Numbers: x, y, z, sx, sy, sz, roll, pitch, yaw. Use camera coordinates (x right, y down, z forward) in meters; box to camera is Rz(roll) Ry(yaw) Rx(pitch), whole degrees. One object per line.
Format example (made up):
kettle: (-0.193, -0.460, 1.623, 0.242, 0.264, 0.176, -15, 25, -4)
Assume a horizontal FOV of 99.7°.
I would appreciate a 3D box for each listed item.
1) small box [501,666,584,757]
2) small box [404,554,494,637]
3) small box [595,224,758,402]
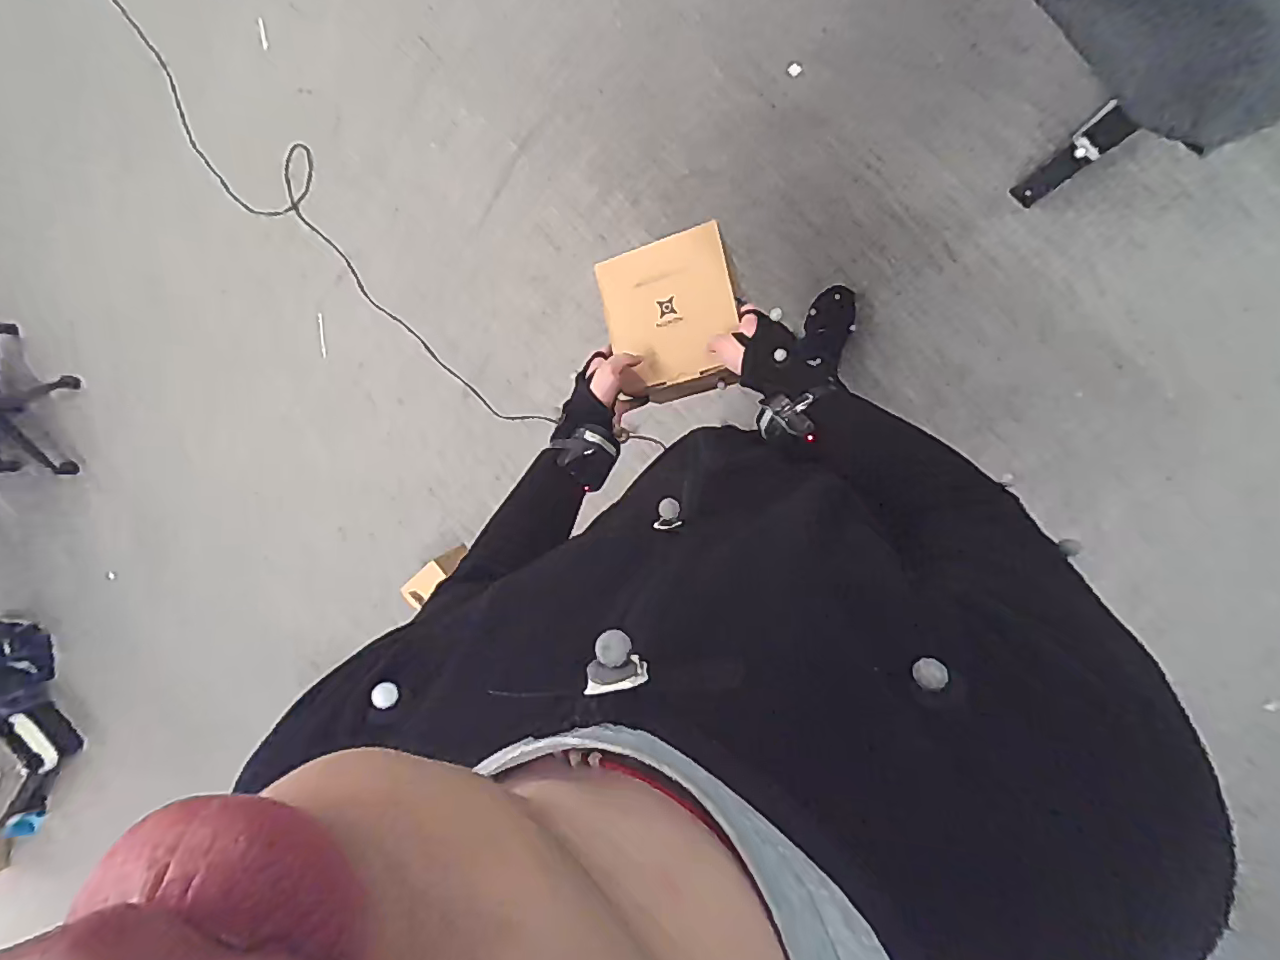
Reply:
small box: (-0.299, 0.731, 1.725, 0.179, 0.176, 0.168, -40, 88, 18)
small box: (-0.608, 0.367, 1.742, 0.179, 0.176, 0.168, -40, 90, 17)
small box: (0.060, -0.212, 0.751, 0.168, 0.176, 0.179, -14, 87, 17)
